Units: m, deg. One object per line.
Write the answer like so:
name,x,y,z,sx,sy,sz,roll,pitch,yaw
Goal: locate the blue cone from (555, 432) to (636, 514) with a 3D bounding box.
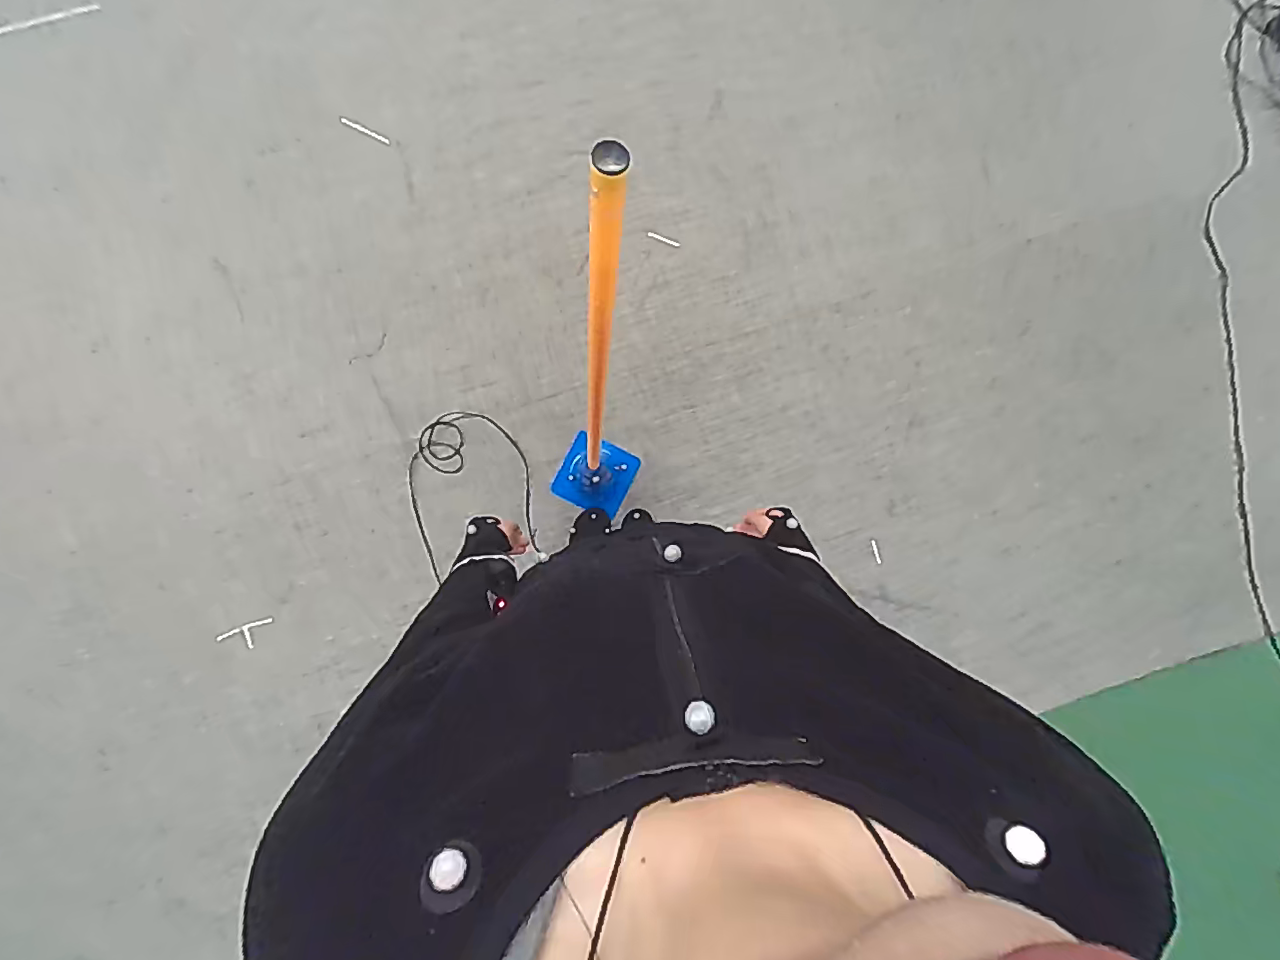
blue cone,-0.112,-0.032,1.323,0.192,0.380,0.193,26,84,-2
